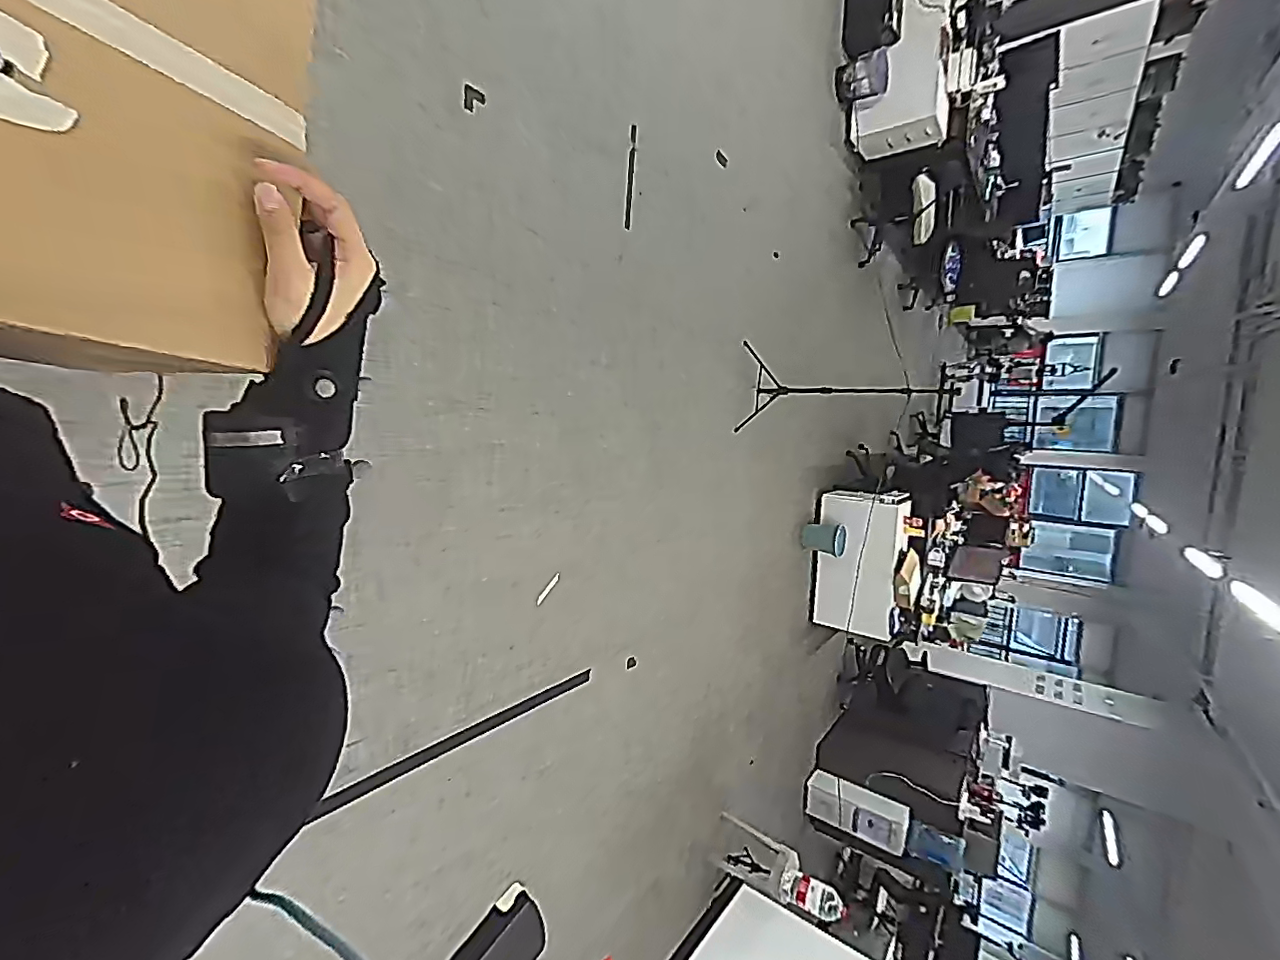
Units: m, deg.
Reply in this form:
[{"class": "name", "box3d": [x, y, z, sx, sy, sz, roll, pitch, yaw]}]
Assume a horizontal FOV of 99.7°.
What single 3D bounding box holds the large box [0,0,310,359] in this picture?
[{"class": "large box", "box3d": [-0.456, -0.253, 0.262, 0.408, 0.320, 0.320, 3, 94, -61]}]
